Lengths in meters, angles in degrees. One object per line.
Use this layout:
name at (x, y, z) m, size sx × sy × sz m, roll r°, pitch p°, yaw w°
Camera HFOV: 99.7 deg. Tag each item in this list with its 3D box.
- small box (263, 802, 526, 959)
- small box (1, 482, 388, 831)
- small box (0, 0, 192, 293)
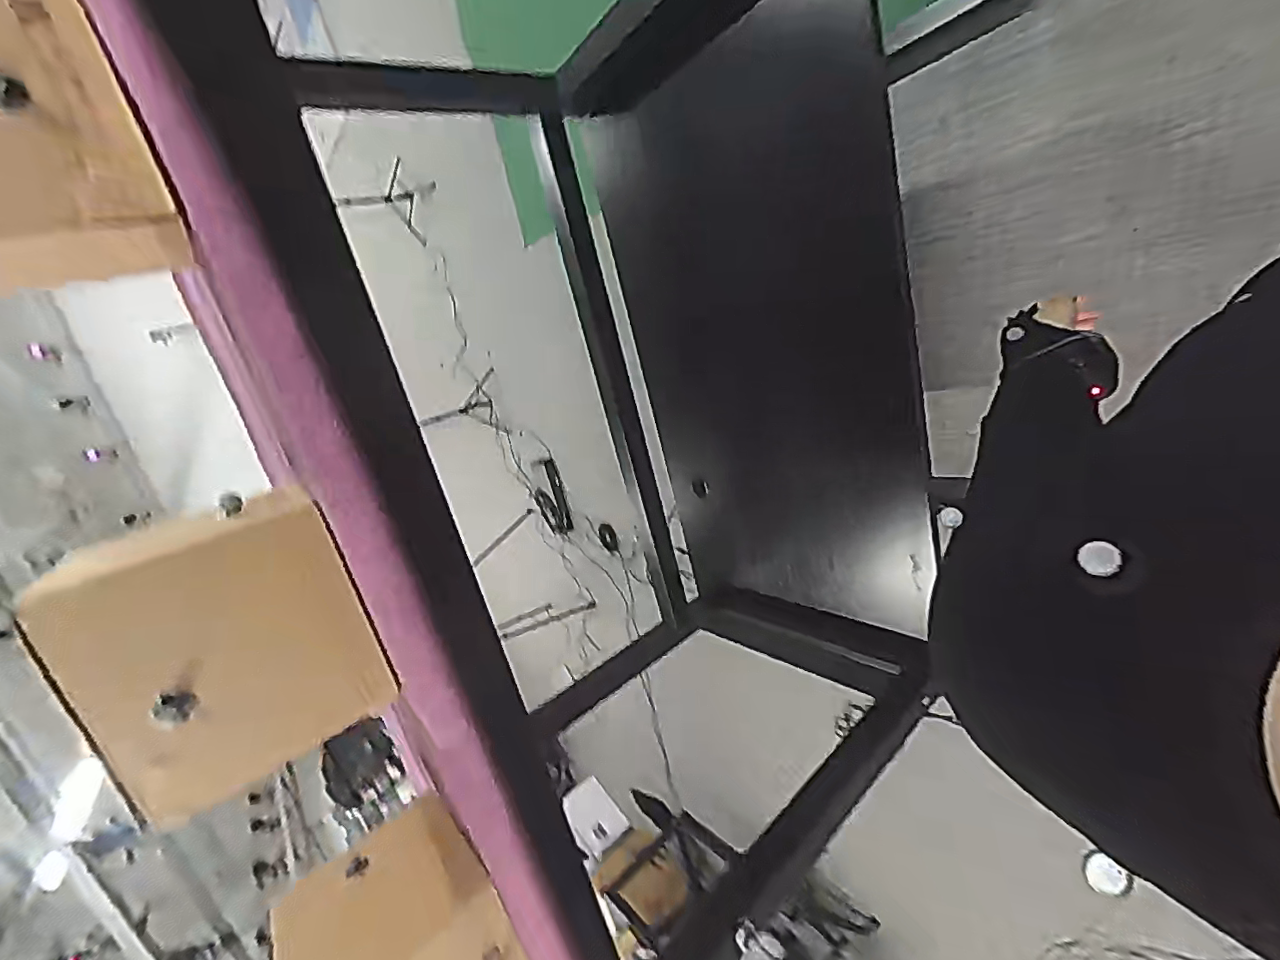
small box at (-0.217, 0.444, 0.500) m, size 0.179 × 0.176 × 0.168 m, roll -1°, pitch 111°, yaw 52°
small box at (-0.327, 0.117, 0.438) m, size 0.168 × 0.176 × 0.179 m, roll 7°, pitch 116°, yaw 53°
small box at (-0.414, -0.217, 0.336) m, size 0.179 × 0.176 × 0.168 m, roll 11°, pitch 121°, yaw 53°
